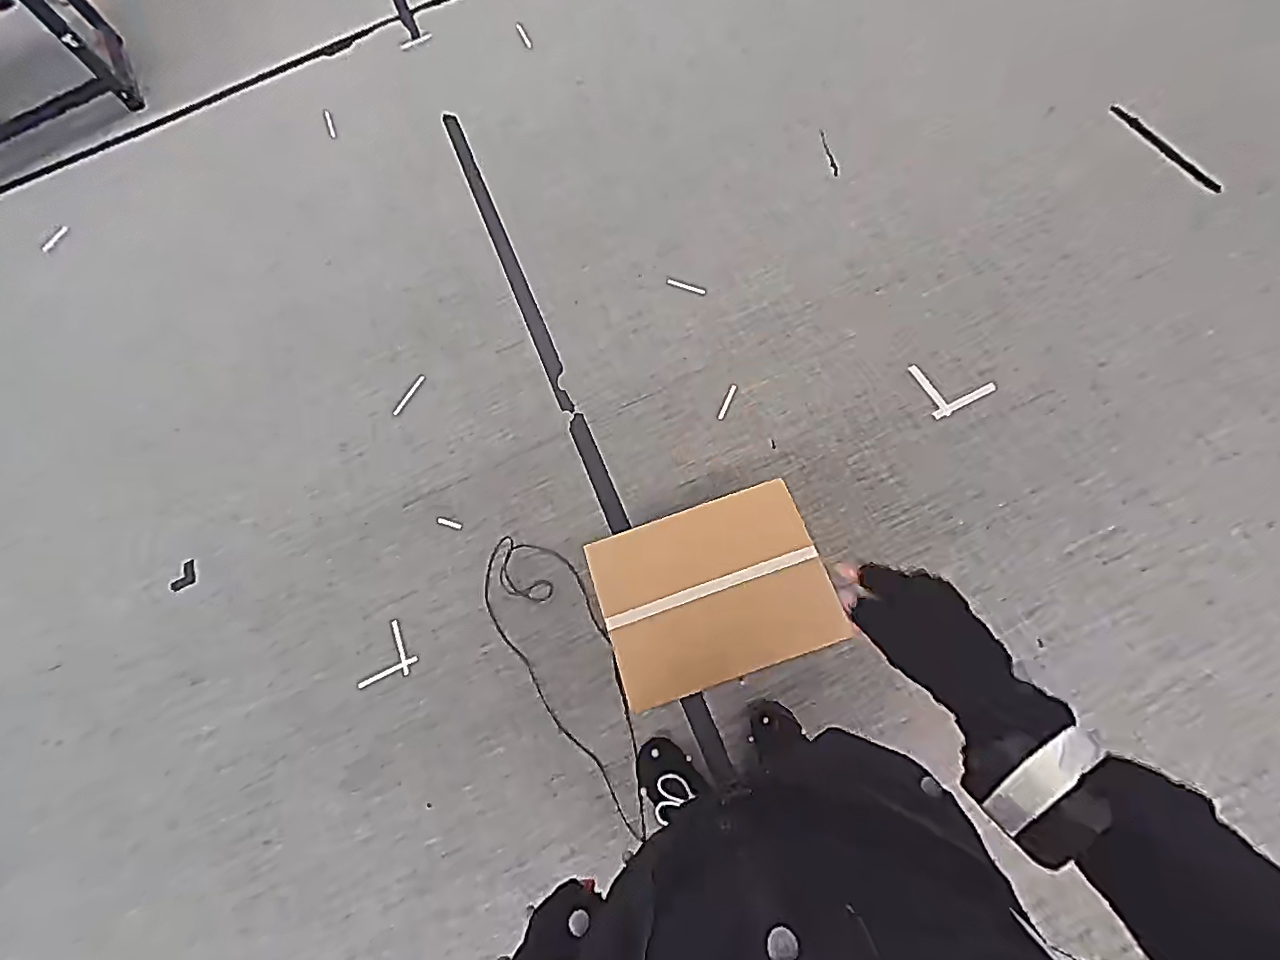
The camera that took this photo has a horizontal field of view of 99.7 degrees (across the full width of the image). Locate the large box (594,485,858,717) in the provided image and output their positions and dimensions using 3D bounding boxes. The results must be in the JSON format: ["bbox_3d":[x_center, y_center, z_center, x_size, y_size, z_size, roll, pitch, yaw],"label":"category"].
[{"bbox_3d":[0.159,0.261,1.113,0.408,0.320,0.320,-19,69,0],"label":"large box"}]
